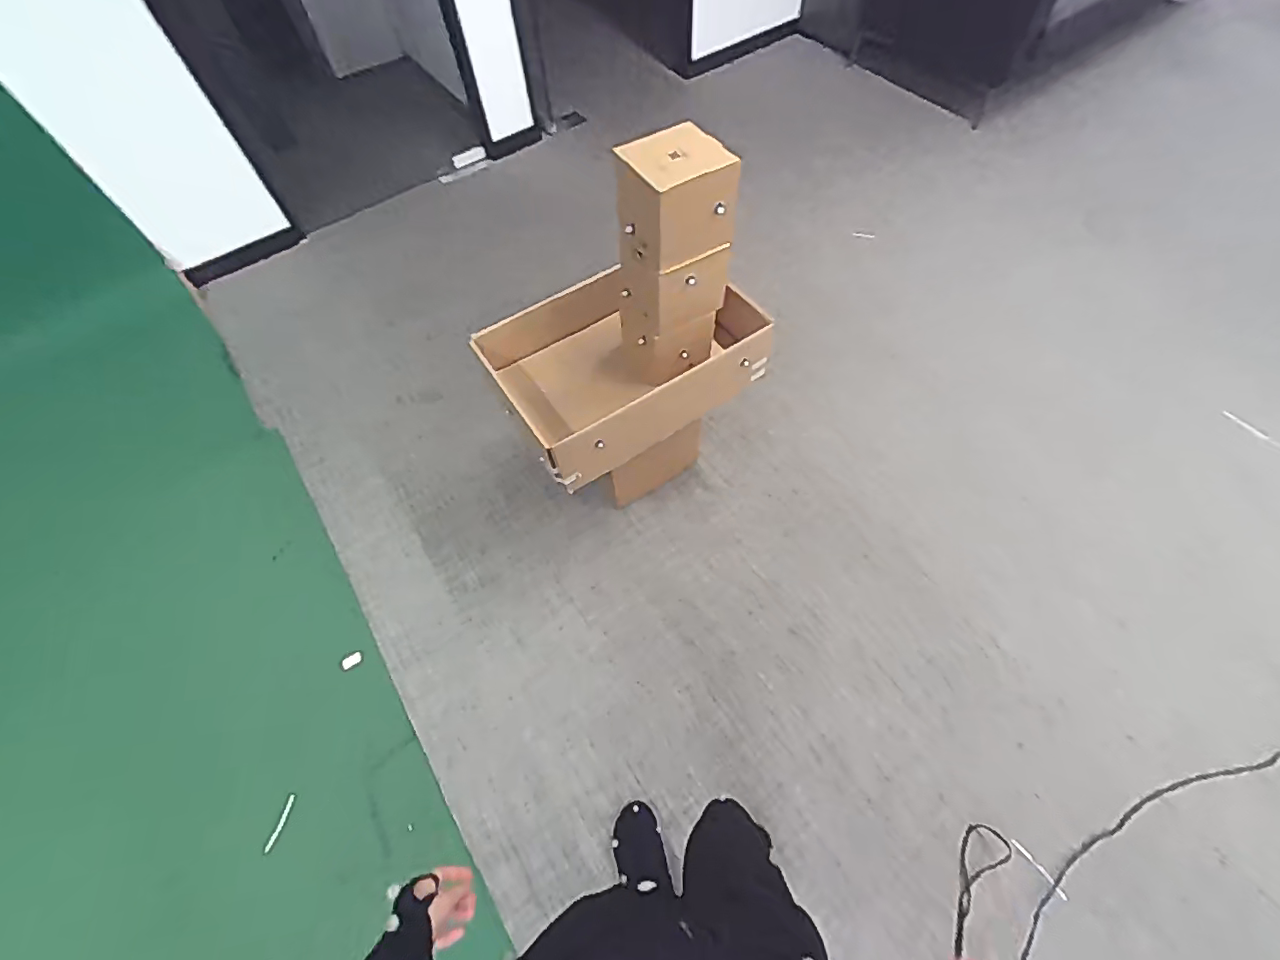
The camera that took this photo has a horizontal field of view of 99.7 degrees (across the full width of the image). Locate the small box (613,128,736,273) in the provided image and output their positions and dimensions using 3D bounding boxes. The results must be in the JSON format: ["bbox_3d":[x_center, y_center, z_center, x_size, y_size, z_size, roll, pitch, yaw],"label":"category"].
[{"bbox_3d":[0.063,-0.543,1.060,0.179,0.176,0.168,-29,62,-14],"label":"small box"}]

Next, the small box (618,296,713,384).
[{"bbox_3d":[0.063,-0.361,1.332,0.168,0.176,0.179,-27,61,-13],"label":"small box"}]

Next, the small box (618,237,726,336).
[{"bbox_3d":[0.070,-0.451,1.194,0.179,0.176,0.168,-28,62,-14],"label":"small box"}]
